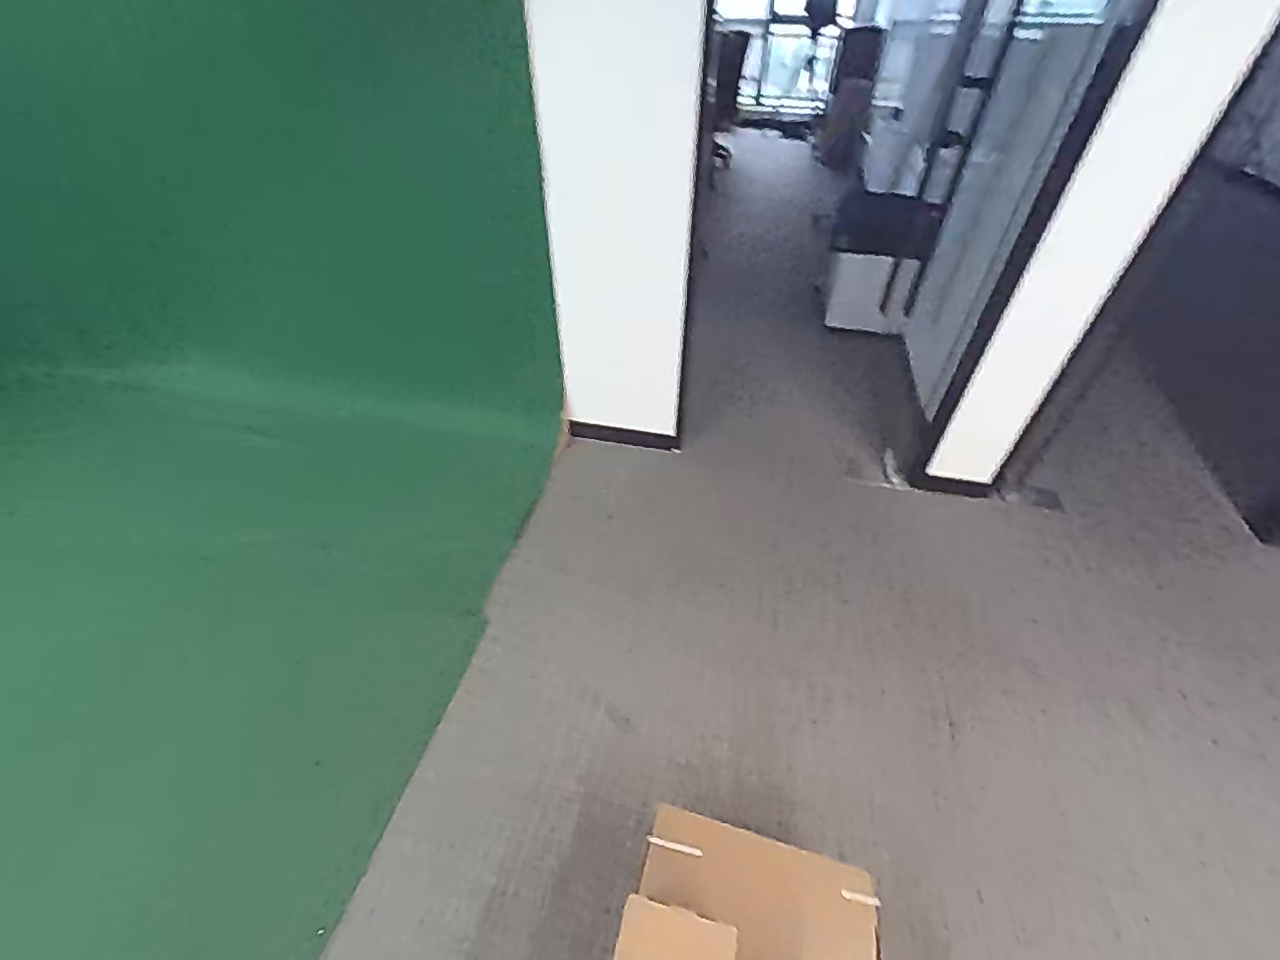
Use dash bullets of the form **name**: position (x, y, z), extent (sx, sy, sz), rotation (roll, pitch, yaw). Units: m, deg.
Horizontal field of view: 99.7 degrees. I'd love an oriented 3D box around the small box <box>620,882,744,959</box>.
- **small box**: position (0.049, 0.732, 0.786), extent (0.168, 0.176, 0.179), rotation (10, 42, 11)
